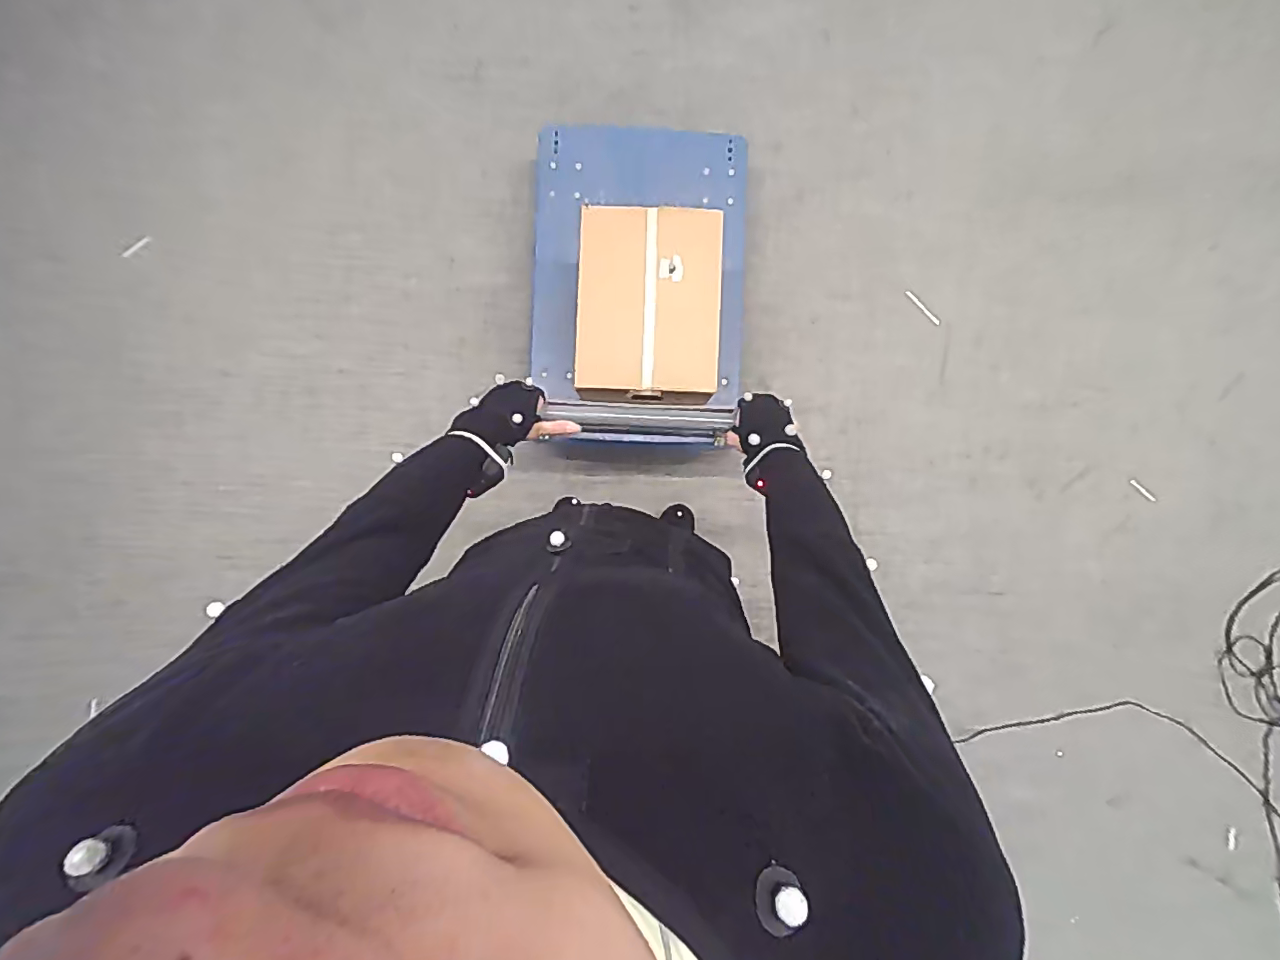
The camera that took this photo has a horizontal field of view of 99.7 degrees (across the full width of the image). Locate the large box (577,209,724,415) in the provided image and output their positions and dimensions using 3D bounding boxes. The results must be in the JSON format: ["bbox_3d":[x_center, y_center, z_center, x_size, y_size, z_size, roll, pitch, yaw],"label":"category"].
[{"bbox_3d":[0.025,-0.378,1.313,0.320,0.320,0.408,2,88,-1],"label":"large box"}]
